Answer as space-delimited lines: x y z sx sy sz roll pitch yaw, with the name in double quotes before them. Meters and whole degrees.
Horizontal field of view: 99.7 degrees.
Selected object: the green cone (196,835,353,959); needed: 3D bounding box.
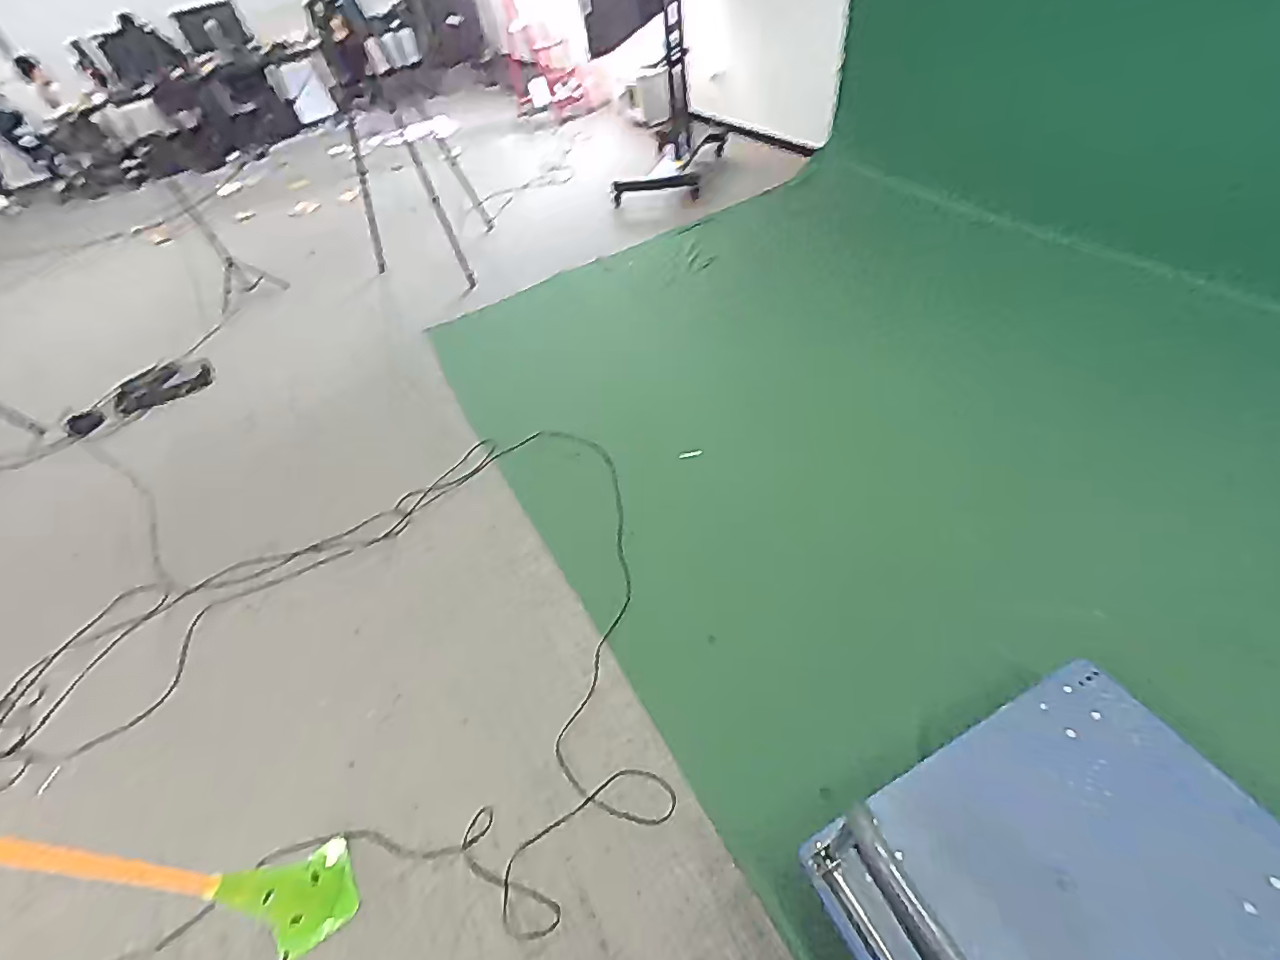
"green cone" -0.865 0.942 1.248 0.200 0.368 0.202 -32 50 -16
